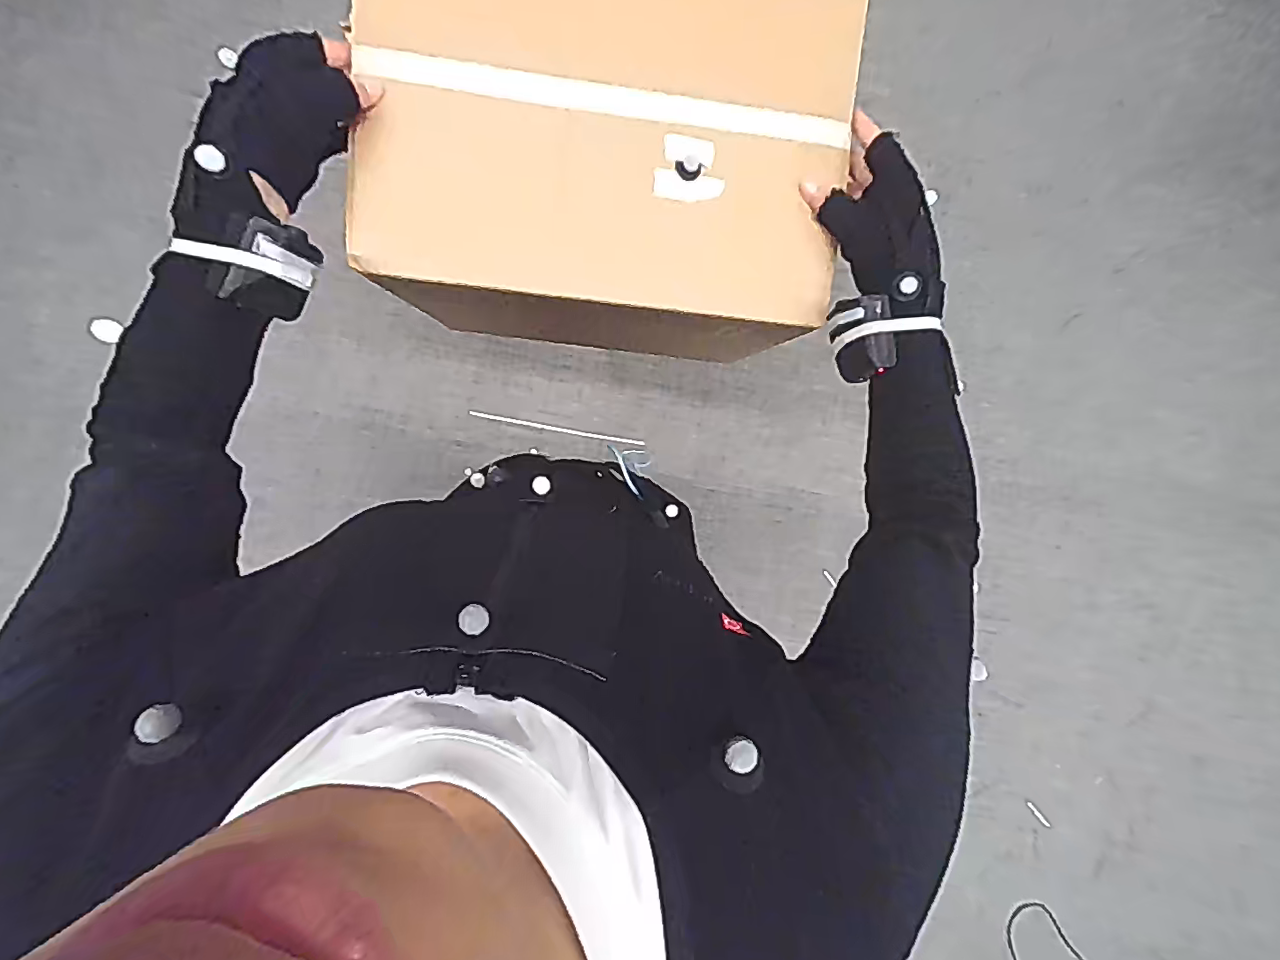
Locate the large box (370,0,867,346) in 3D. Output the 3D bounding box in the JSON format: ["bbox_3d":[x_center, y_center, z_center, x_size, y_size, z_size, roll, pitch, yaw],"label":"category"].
[{"bbox_3d":[-0.031,-0.338,0.593,0.408,0.320,0.320,5,97,-7],"label":"large box"}]
